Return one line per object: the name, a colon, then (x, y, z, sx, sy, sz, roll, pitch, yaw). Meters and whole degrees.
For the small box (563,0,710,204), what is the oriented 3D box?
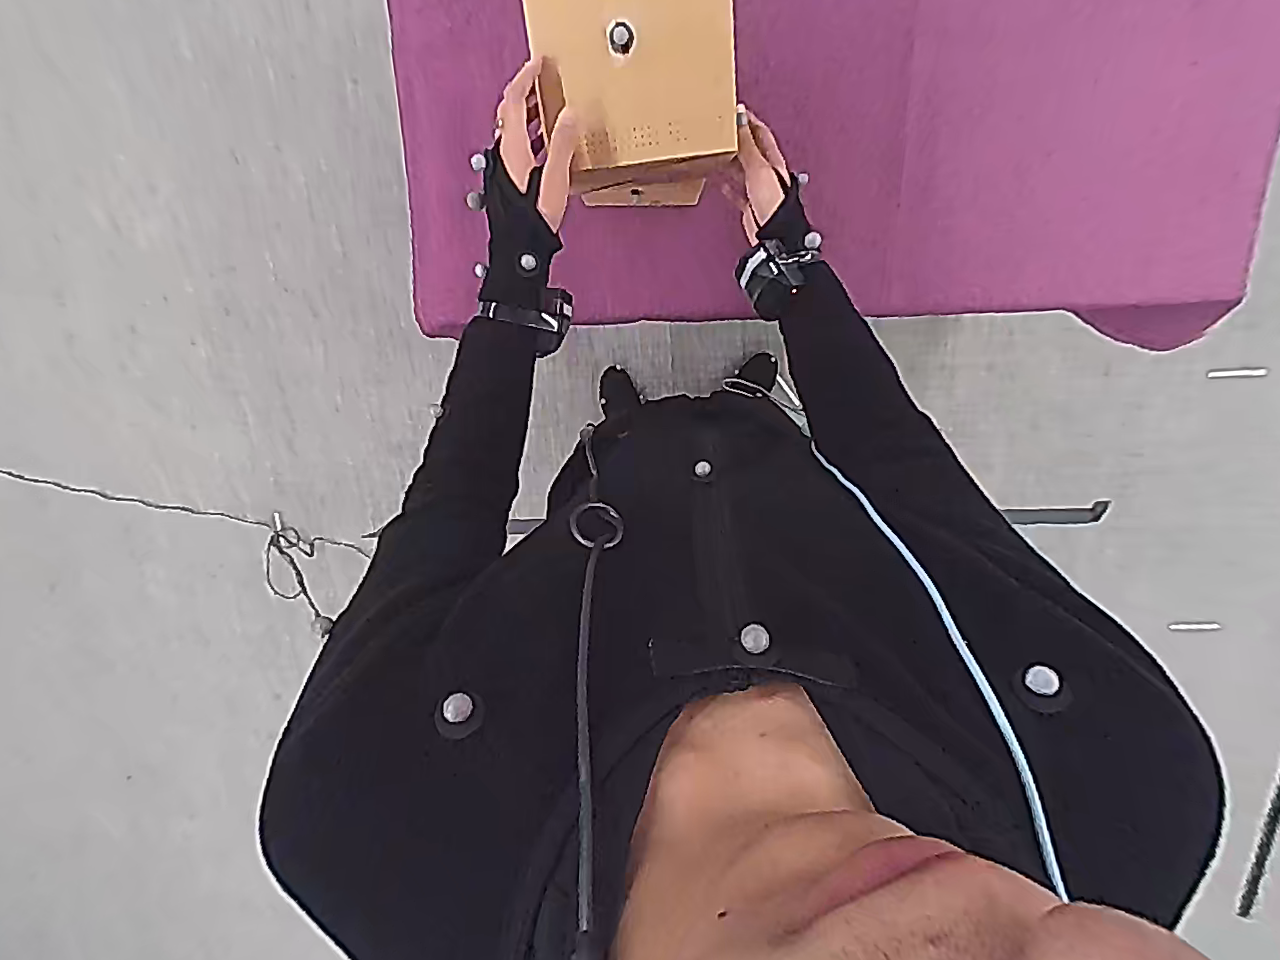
small box: (-0.004, -0.465, 0.693, 0.168, 0.176, 0.179, 1, 104, 0)
